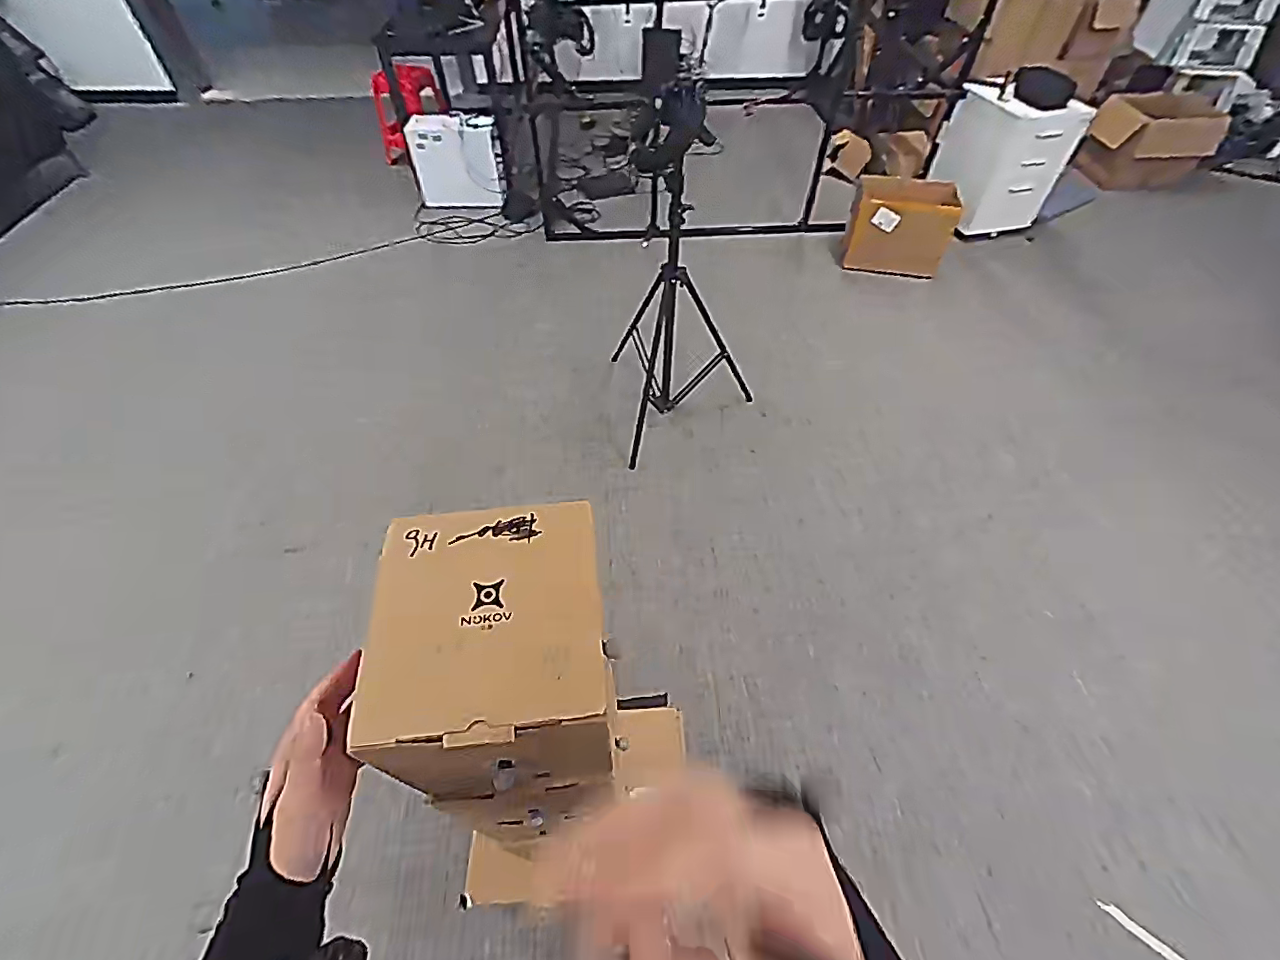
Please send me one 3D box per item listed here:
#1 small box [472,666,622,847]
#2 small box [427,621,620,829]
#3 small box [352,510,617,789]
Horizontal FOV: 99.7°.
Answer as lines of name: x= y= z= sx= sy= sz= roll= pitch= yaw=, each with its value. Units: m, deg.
small box: x=-0.110 y=0.361 z=0.706 sx=0.168 sy=0.176 sz=0.179 roll=-4 pitch=52 yaw=-3
small box: x=-0.110 y=0.255 z=0.580 sx=0.168 sy=0.176 sz=0.179 roll=-5 pitch=52 yaw=-4
small box: x=-0.109 y=0.148 z=0.455 sx=0.168 sy=0.176 sz=0.179 roll=-5 pitch=53 yaw=-5
